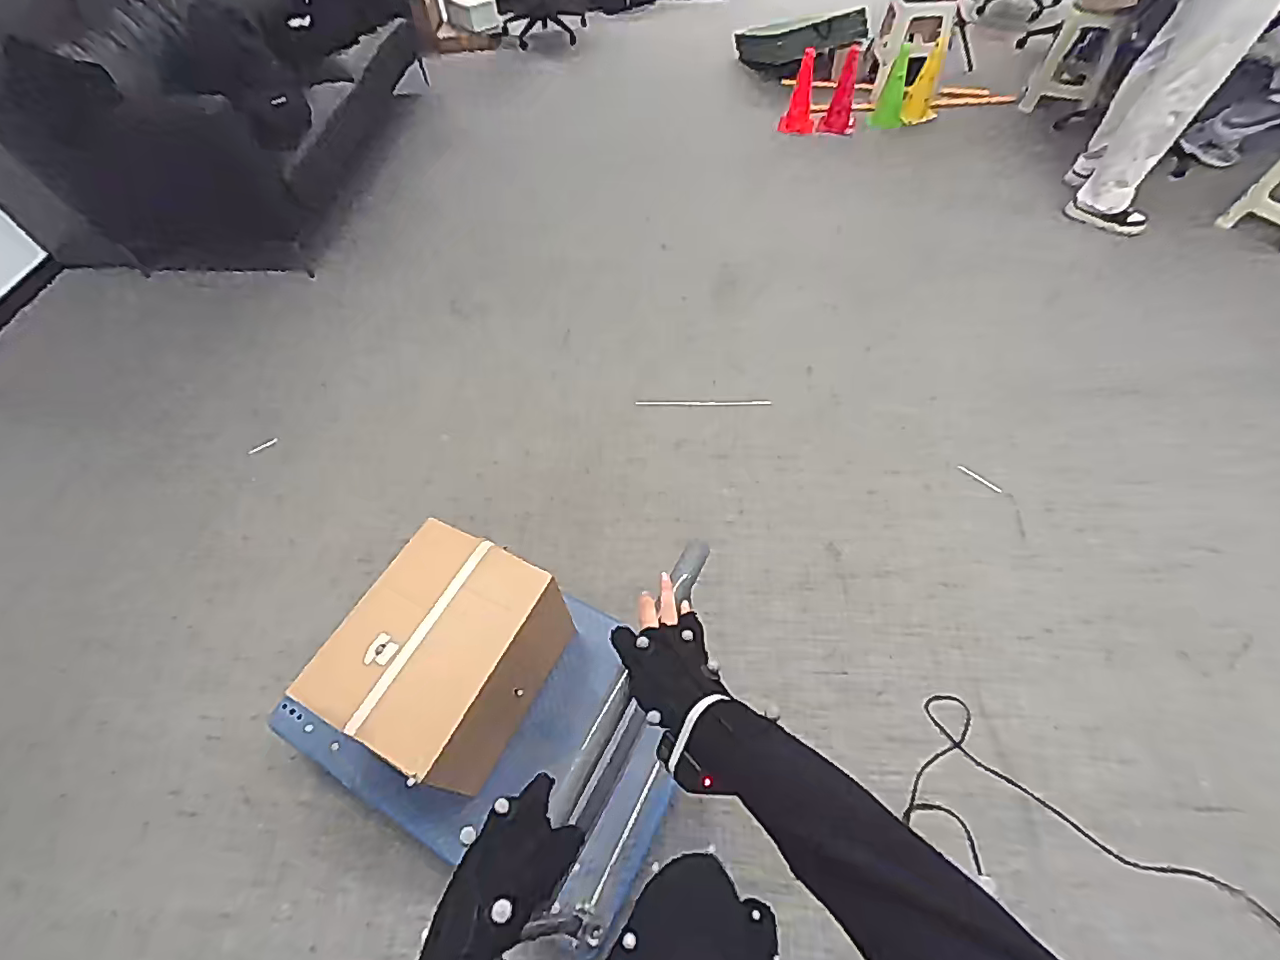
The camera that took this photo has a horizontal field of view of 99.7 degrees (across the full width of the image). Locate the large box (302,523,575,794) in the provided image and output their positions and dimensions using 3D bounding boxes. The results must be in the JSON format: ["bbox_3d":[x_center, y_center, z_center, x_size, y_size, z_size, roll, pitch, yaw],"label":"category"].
[{"bbox_3d":[-0.376,0.373,1.136,0.320,0.320,0.408,21,60,17],"label":"large box"}]
